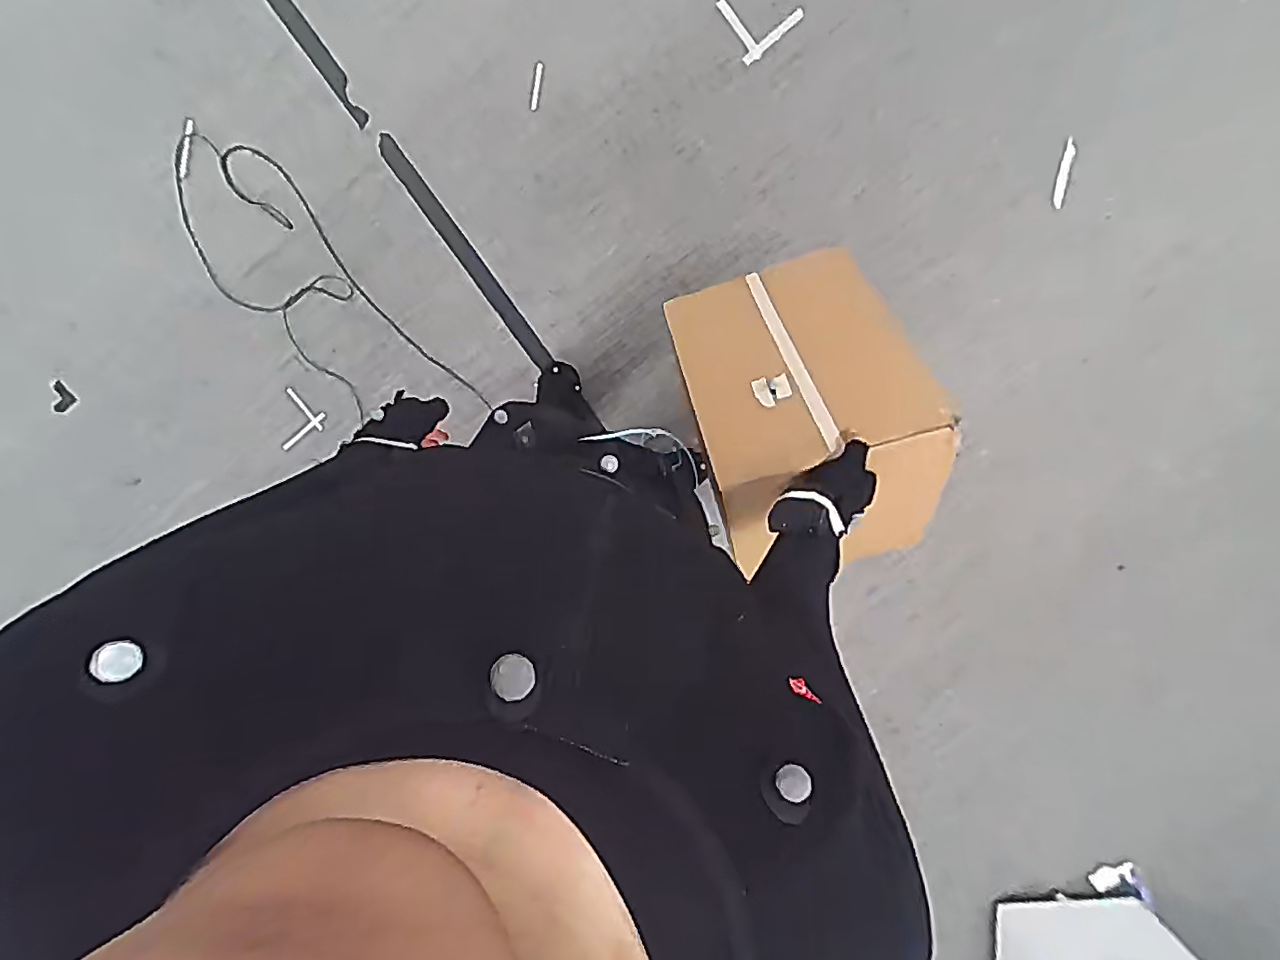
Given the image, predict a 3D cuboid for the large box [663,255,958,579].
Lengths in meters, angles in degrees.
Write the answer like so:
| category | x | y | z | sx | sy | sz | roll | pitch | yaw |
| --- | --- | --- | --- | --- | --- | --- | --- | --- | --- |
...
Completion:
| category | x | y | z | sx | sy | sz | roll | pitch | yaw |
| --- | --- | --- | --- | --- | --- | --- | --- | --- | --- |
| large box | 0.253 | -0.101 | 0.923 | 0.320 | 0.320 | 0.408 | -17 | 54 | 7 |
